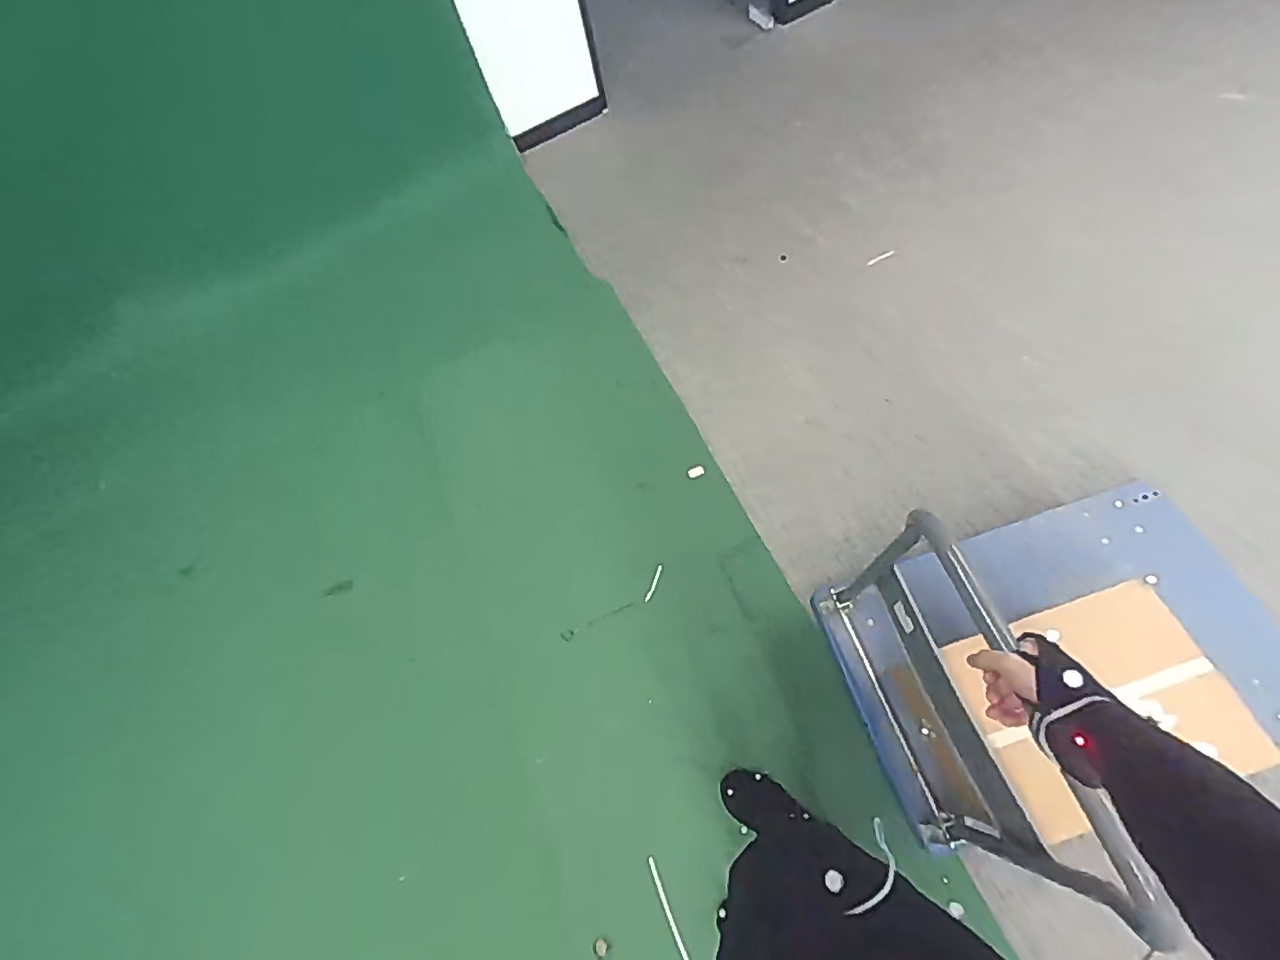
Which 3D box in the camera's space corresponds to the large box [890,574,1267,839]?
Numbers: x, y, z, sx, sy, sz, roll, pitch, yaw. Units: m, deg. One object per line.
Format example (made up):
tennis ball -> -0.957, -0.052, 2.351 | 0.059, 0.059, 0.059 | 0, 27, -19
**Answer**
large box -> 0.779, 0.429, 1.047 | 0.408, 0.320, 0.320 | -20, 65, 0
